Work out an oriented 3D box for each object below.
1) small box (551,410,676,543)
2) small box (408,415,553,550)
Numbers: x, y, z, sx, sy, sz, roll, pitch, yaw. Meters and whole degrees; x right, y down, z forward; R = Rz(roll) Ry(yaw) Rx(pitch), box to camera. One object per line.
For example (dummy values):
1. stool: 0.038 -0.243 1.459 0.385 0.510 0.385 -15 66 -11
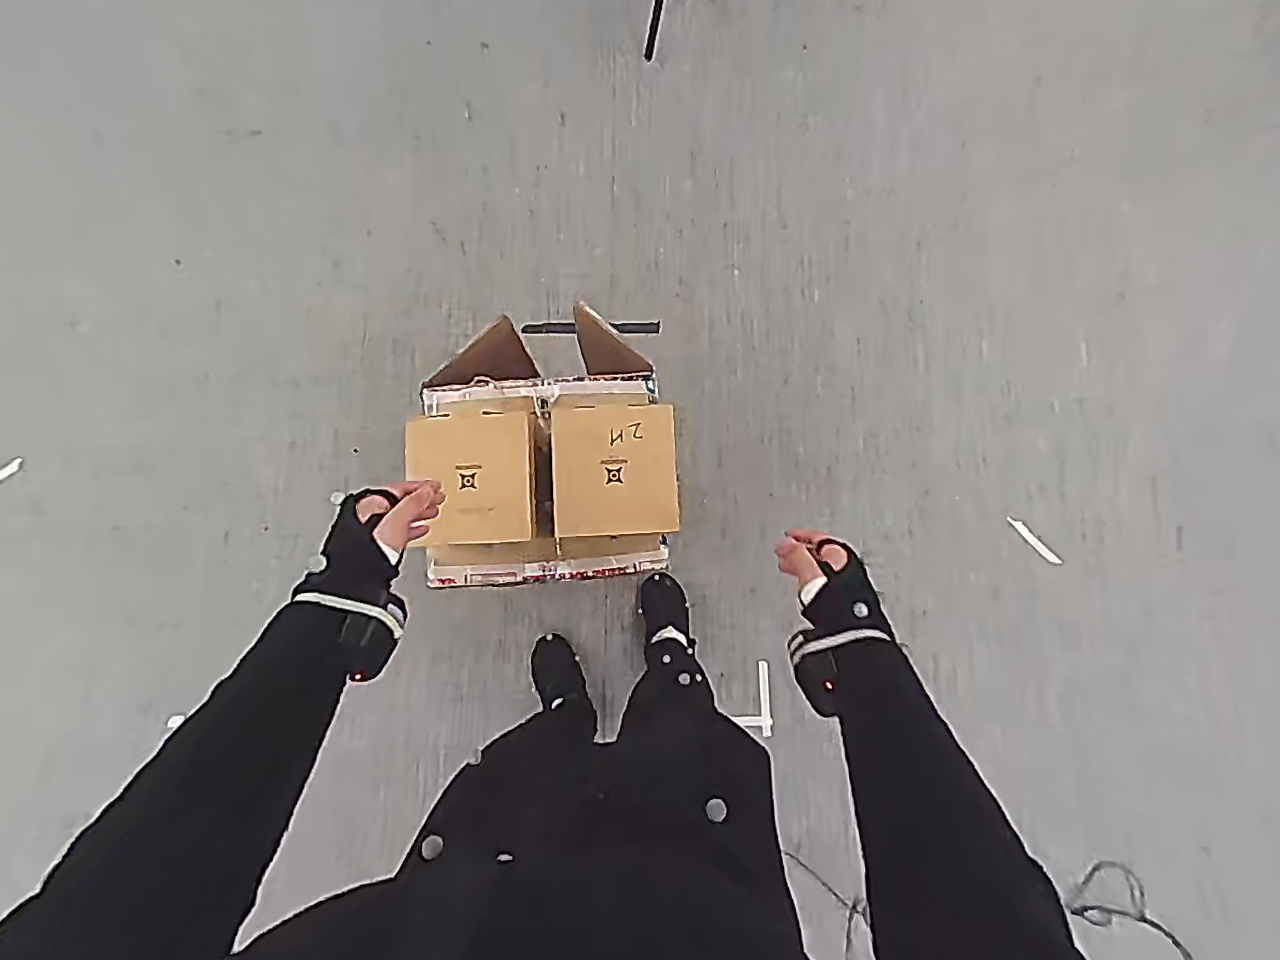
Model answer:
1. small box: -0.038 0.001 0.802 0.168 0.176 0.179 -2 84 -3
2. small box: -0.226 0.009 0.798 0.168 0.176 0.179 -4 86 0
